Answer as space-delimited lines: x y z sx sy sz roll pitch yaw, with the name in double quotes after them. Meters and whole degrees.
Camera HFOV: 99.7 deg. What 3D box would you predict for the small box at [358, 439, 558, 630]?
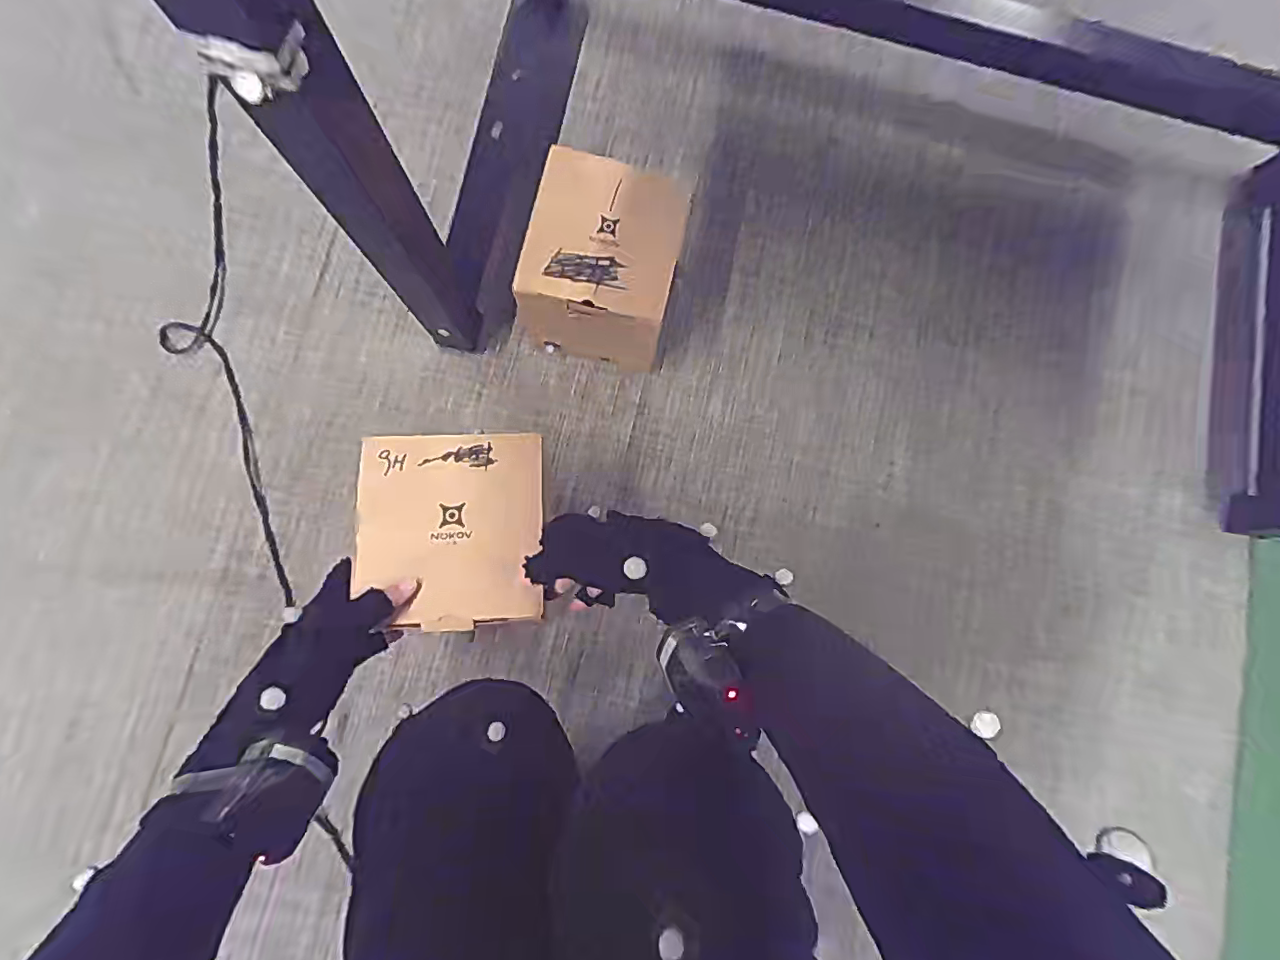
-0.175 0.064 0.575 0.168 0.176 0.179 0 76 -5 "small box"
